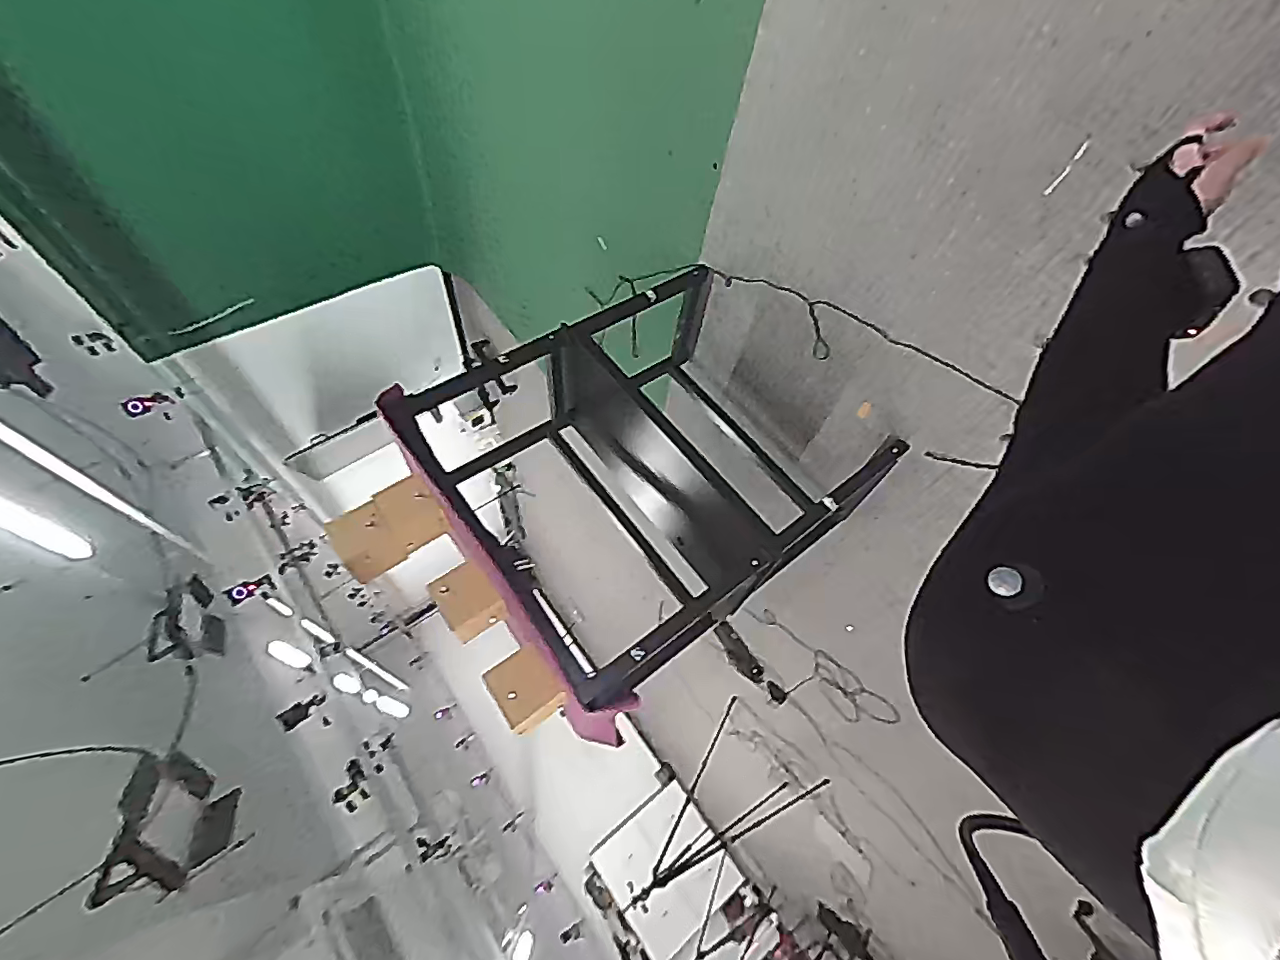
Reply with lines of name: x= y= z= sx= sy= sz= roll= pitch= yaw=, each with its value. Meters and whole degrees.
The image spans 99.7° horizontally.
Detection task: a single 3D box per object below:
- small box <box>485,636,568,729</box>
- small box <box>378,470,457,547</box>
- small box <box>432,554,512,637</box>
small box: x=-0.320 y=0.586 z=1.569 sx=0.179 sy=0.176 sz=0.168 roll=49 pitch=156 yaw=24
small box: x=-0.747 y=0.089 z=1.828 sx=0.179 sy=0.176 sz=0.168 roll=50 pitch=158 yaw=21
small box: x=-0.522 y=0.356 z=1.697 sx=0.179 sy=0.176 sz=0.168 roll=50 pitch=157 yaw=20
